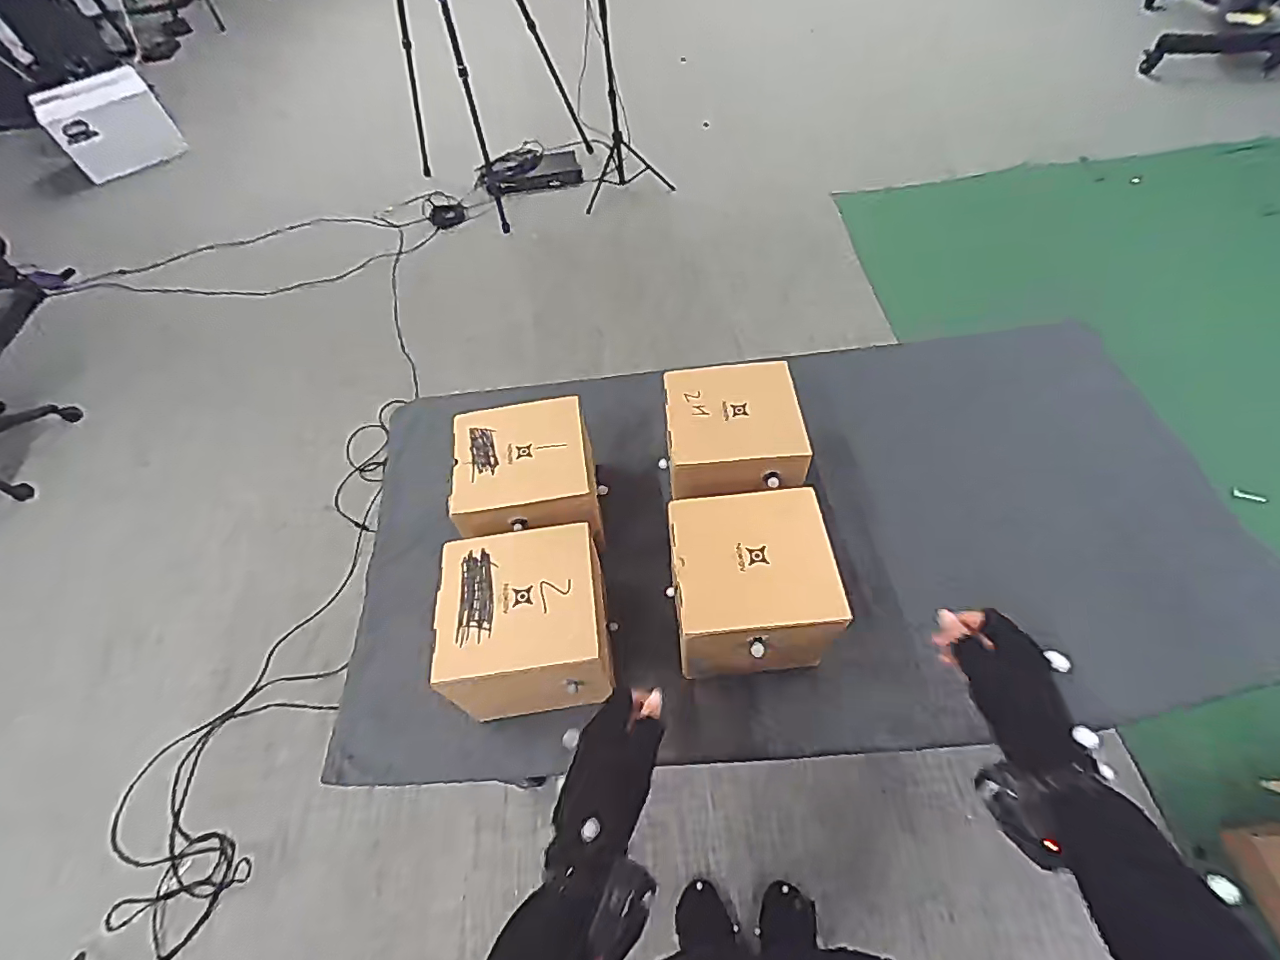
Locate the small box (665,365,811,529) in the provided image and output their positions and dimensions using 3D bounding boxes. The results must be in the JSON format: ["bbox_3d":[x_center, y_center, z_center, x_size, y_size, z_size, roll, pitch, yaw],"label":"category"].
[{"bbox_3d":[0.129,-0.042,0.779,0.179,0.176,0.168,-5,56,3],"label":"small box"}]
